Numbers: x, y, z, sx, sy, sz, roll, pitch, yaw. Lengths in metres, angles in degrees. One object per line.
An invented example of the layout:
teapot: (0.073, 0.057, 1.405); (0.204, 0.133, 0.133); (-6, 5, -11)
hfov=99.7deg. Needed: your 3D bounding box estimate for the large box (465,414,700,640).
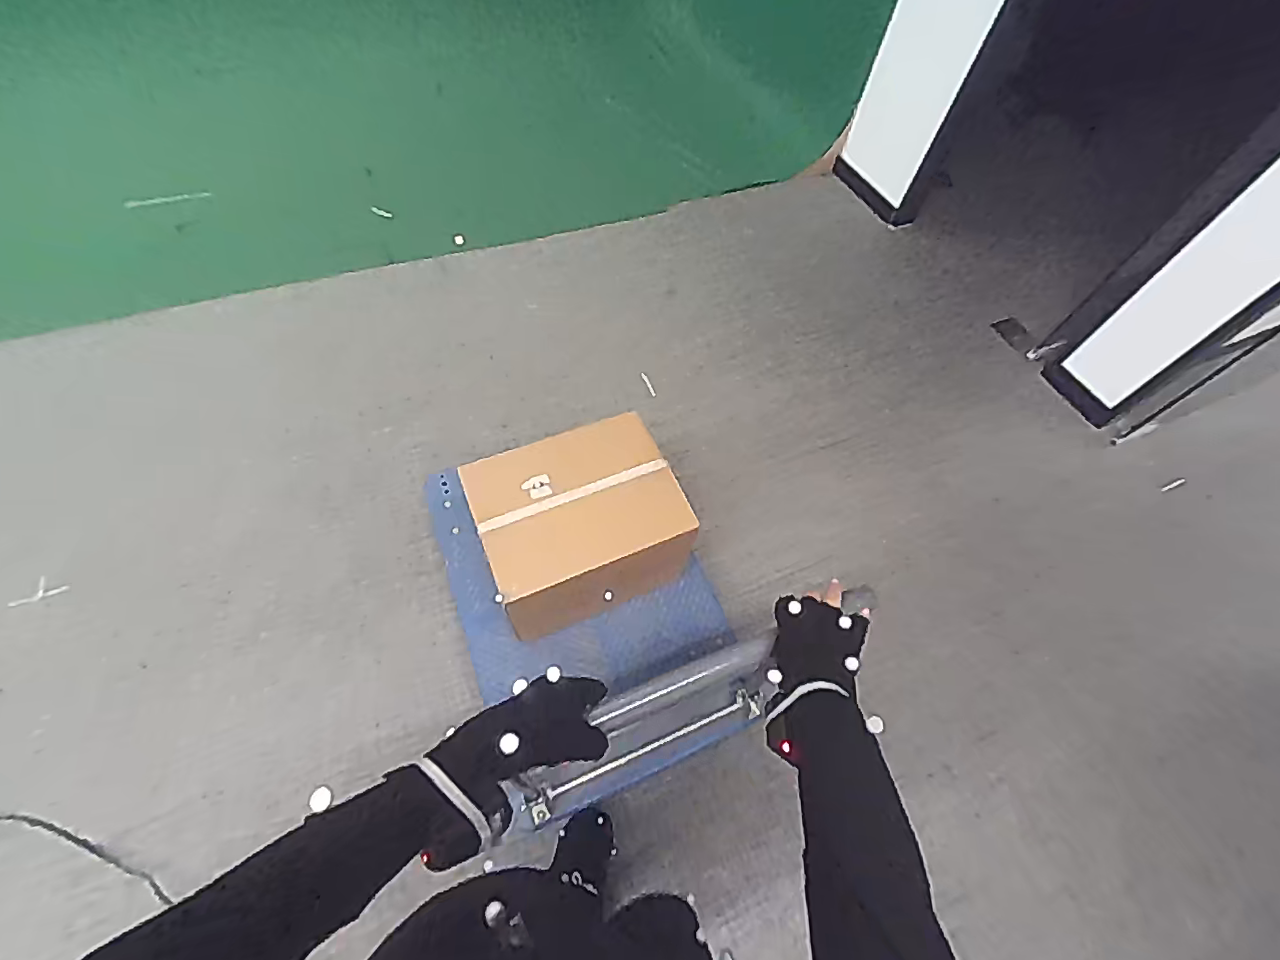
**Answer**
large box: (-0.127, 0.112, 1.223); (0.408, 0.320, 0.320); (-21, 63, -15)
